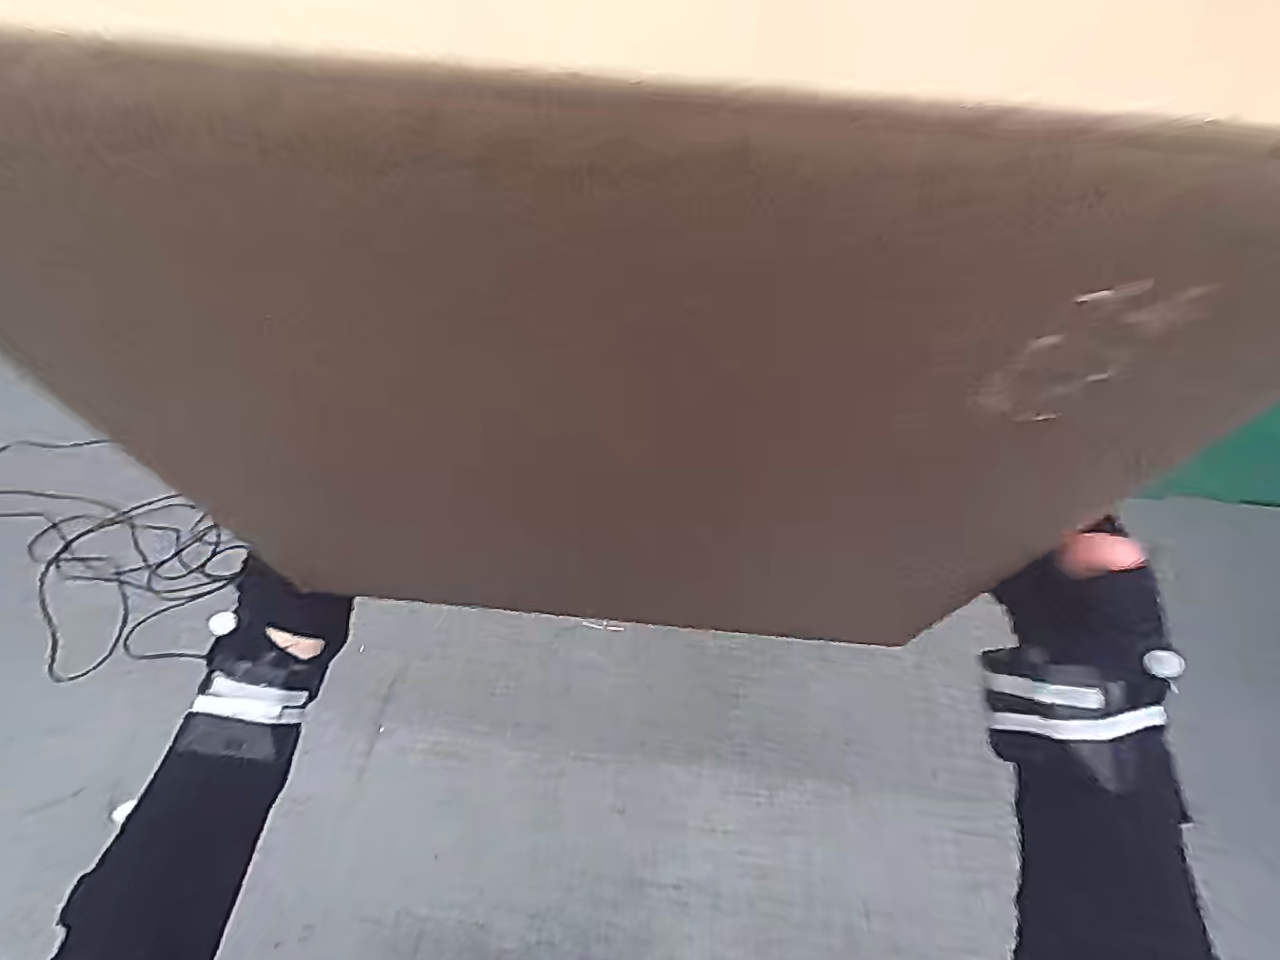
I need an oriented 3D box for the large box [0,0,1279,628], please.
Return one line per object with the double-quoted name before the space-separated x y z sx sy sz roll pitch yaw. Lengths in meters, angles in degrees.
"large box" 0.005 -0.121 0.326 0.408 0.320 0.320 6 57 0
